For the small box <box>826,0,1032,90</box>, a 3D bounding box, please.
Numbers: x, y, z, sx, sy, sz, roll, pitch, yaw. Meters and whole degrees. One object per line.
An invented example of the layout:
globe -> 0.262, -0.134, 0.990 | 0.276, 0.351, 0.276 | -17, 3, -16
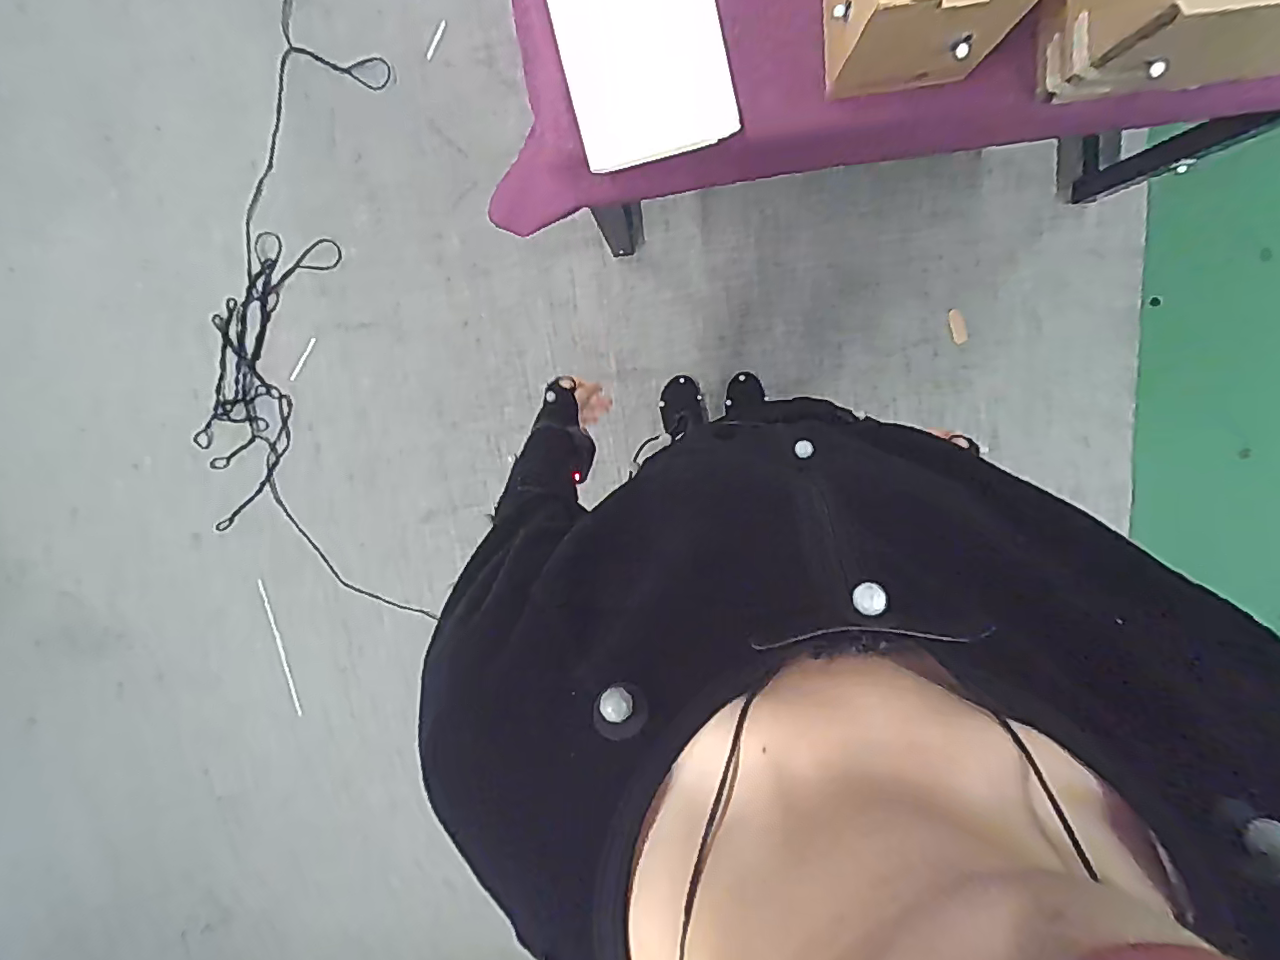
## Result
small box -> 0.301, -0.546, 0.567 | 0.168, 0.176, 0.179 | -4, 99, 4

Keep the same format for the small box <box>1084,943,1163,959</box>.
small box -> 1.198, 1.259, 1.285 | 0.179, 0.176, 0.168 | -16, 100, 7
